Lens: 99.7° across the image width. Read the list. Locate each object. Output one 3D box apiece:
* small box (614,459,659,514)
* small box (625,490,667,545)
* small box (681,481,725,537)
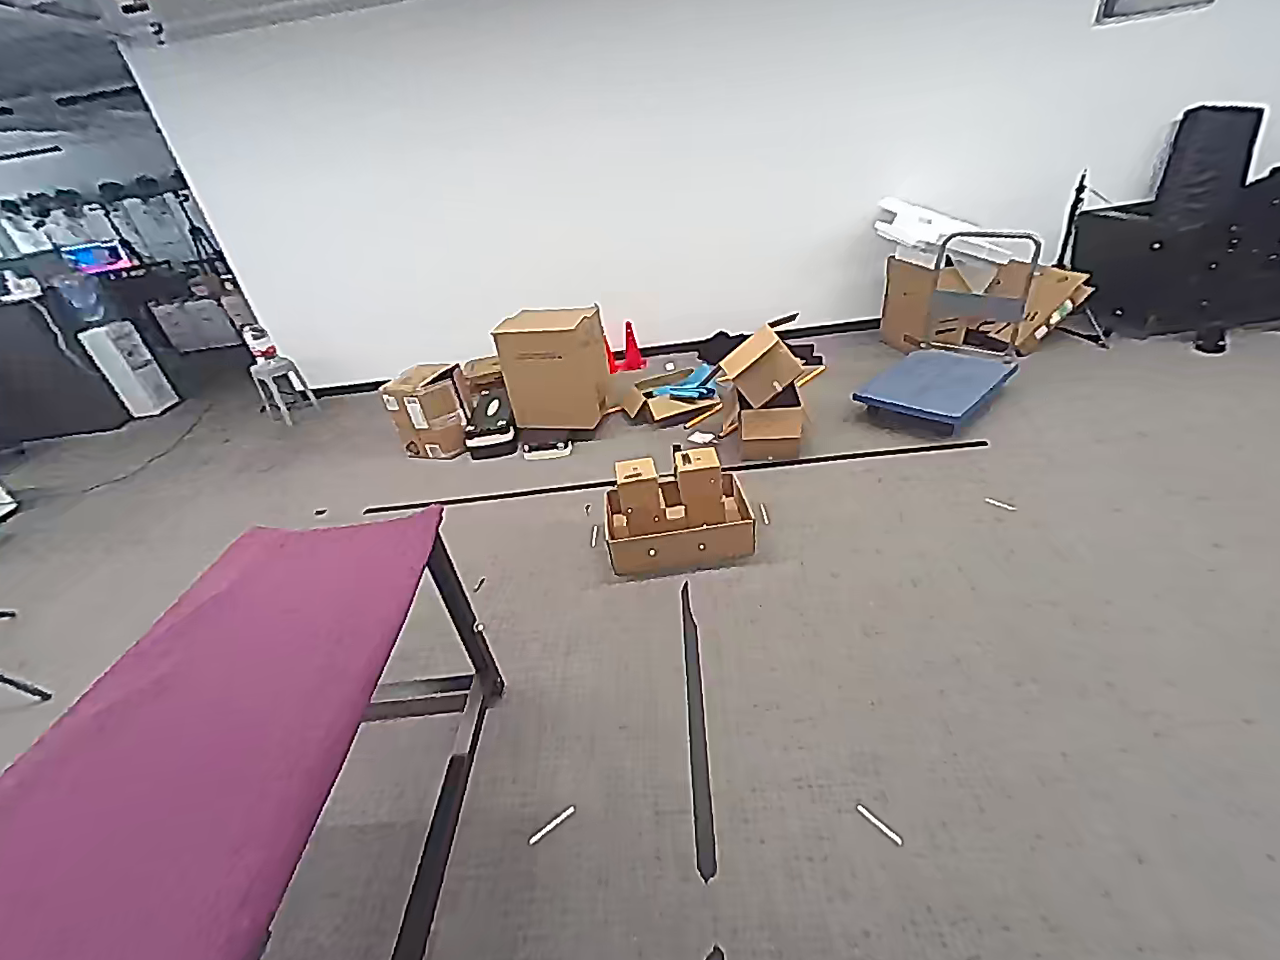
[{"bbox_3d":[-0.014,0.035,2.309,0.168,0.176,0.179,-9,31,-3],"label":"small box"},{"bbox_3d":[0.023,0.168,2.401,0.179,0.176,0.168,-9,31,-2],"label":"small box"},{"bbox_3d":[0.279,0.130,2.402,0.168,0.176,0.179,-10,32,1],"label":"small box"}]
